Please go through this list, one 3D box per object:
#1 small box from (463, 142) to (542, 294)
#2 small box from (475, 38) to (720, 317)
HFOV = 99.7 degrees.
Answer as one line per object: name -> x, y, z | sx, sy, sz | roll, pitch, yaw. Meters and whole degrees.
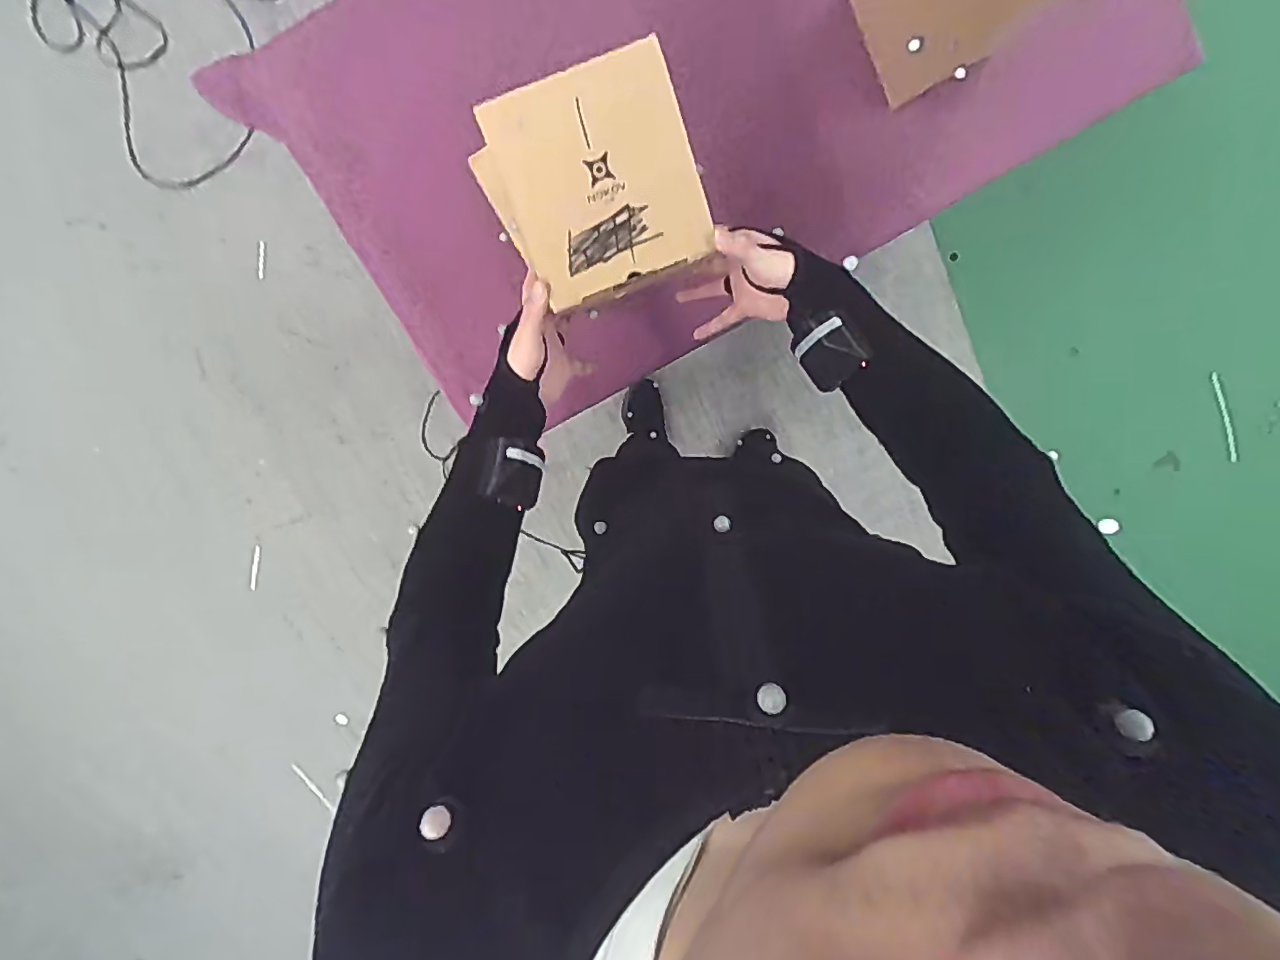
small box -> -0.097, -0.349, 0.705 | 0.168, 0.176, 0.179 | -29, 103, 4
small box -> -0.035, -0.272, 0.535 | 0.168, 0.176, 0.179 | -20, 105, 2
